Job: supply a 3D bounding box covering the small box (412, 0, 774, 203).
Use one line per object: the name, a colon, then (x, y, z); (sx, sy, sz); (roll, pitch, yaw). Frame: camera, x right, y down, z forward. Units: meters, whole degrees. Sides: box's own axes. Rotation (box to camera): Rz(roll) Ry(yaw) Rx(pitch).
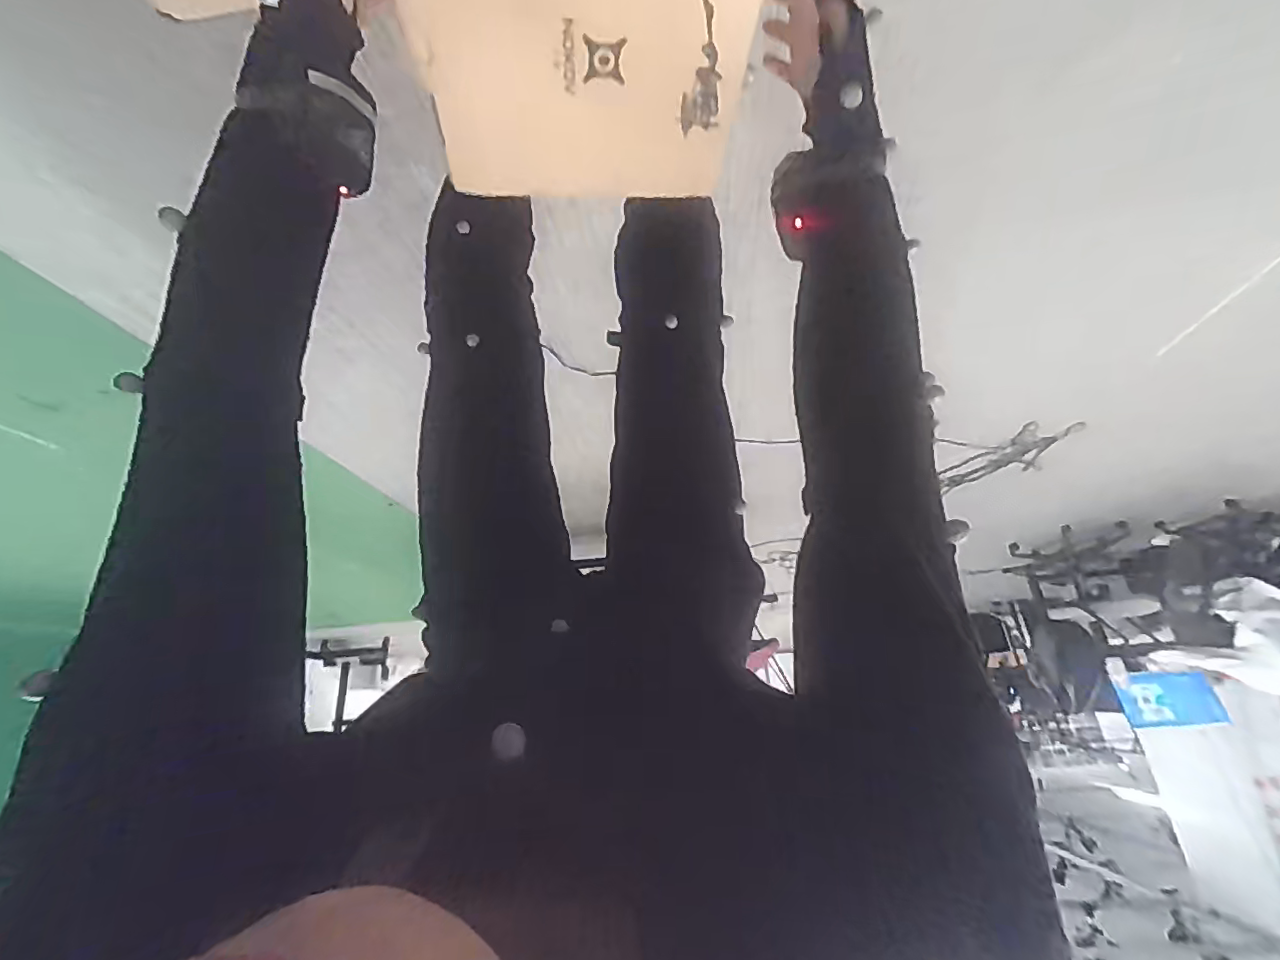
small box: (-0.029, -0.292, 0.310); (0.179, 0.176, 0.168); (-2, 157, -7)
